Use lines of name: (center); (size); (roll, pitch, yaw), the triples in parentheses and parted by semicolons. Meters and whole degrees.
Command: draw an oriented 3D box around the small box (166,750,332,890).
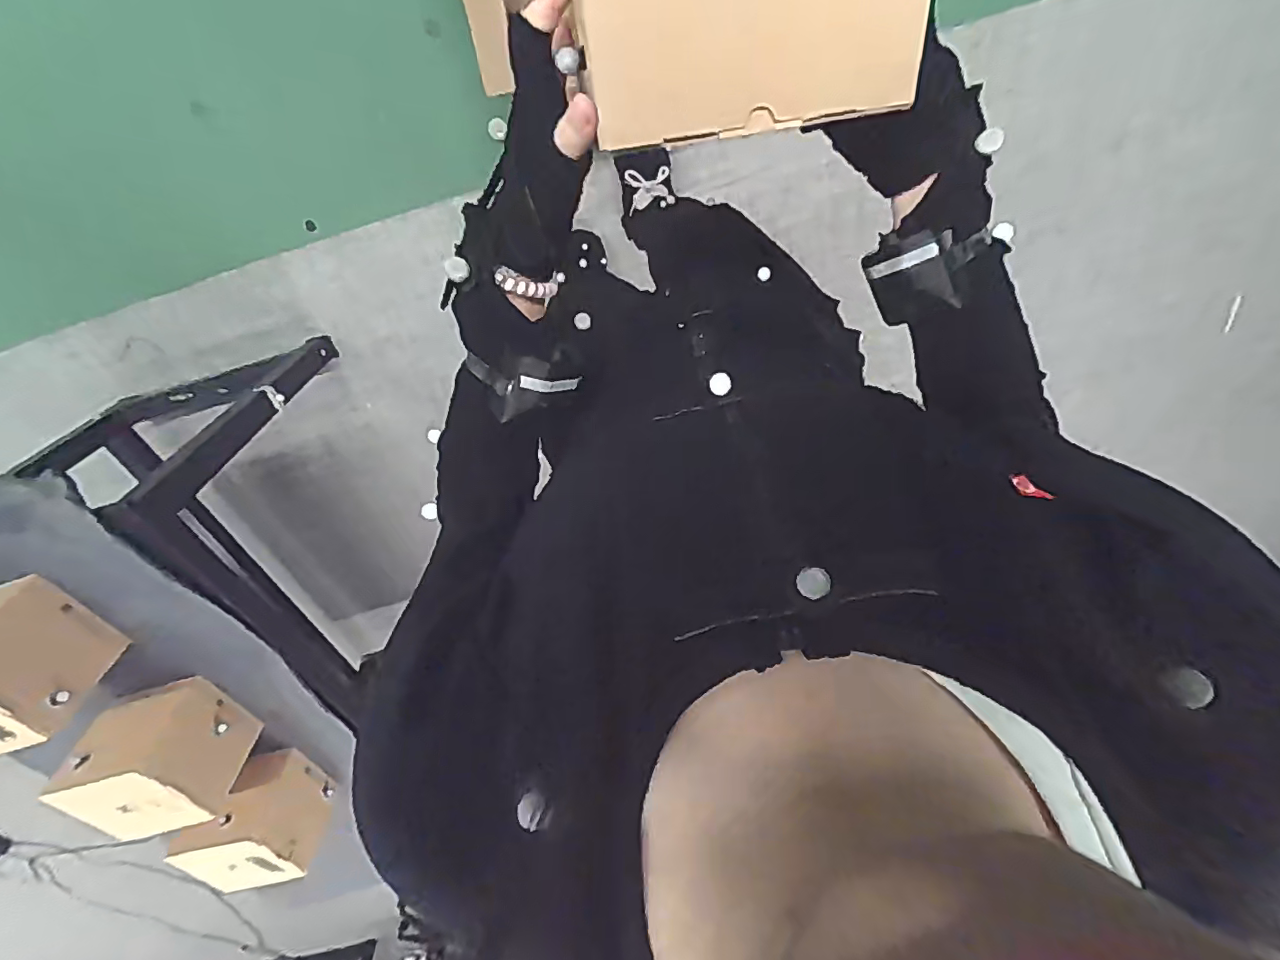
small box: (-0.731, 0.650, 1.043); (0.179, 0.176, 0.168); (-15, 124, 5)

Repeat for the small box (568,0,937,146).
small box: (0.043, -0.298, 0.289); (0.168, 0.176, 0.179); (-11, 129, -3)

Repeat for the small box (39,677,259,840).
small box: (-0.798, 0.461, 0.905); (0.179, 0.176, 0.168); (-17, 125, 5)
